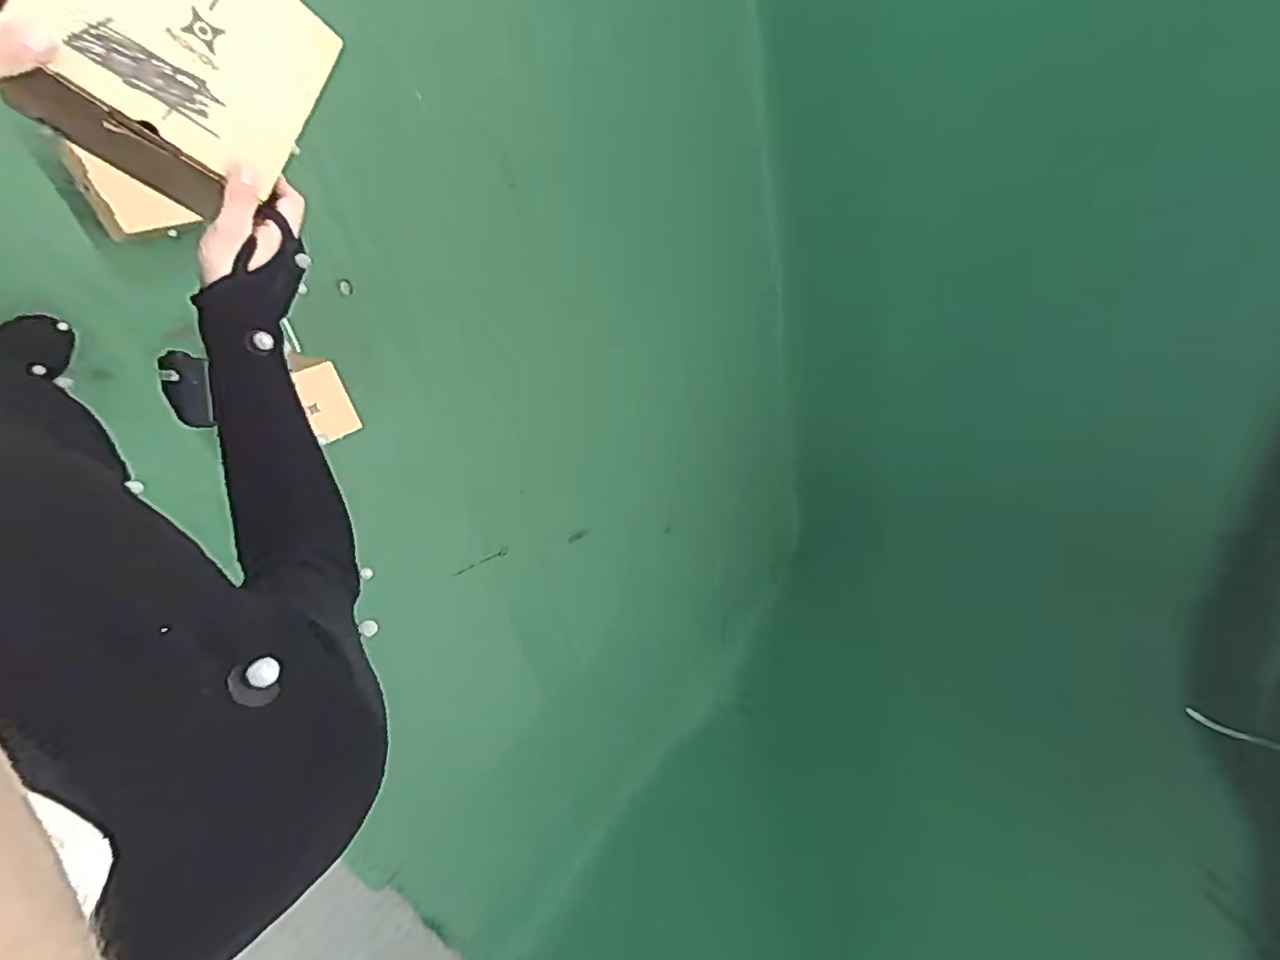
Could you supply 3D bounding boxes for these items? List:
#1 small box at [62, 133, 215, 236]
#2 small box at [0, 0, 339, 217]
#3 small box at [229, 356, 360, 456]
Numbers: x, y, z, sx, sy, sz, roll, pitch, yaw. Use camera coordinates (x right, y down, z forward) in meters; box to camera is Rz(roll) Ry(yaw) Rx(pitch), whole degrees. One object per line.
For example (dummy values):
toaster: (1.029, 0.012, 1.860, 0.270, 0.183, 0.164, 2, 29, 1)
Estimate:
small box: (-1.011, -0.604, 1.097, 0.179, 0.176, 0.168, -37, 127, -35)
small box: (-0.407, -0.362, 0.474, 0.168, 0.176, 0.179, 28, 79, -49)
small box: (-0.785, -0.176, 1.230, 0.179, 0.176, 0.168, -36, 127, -36)
